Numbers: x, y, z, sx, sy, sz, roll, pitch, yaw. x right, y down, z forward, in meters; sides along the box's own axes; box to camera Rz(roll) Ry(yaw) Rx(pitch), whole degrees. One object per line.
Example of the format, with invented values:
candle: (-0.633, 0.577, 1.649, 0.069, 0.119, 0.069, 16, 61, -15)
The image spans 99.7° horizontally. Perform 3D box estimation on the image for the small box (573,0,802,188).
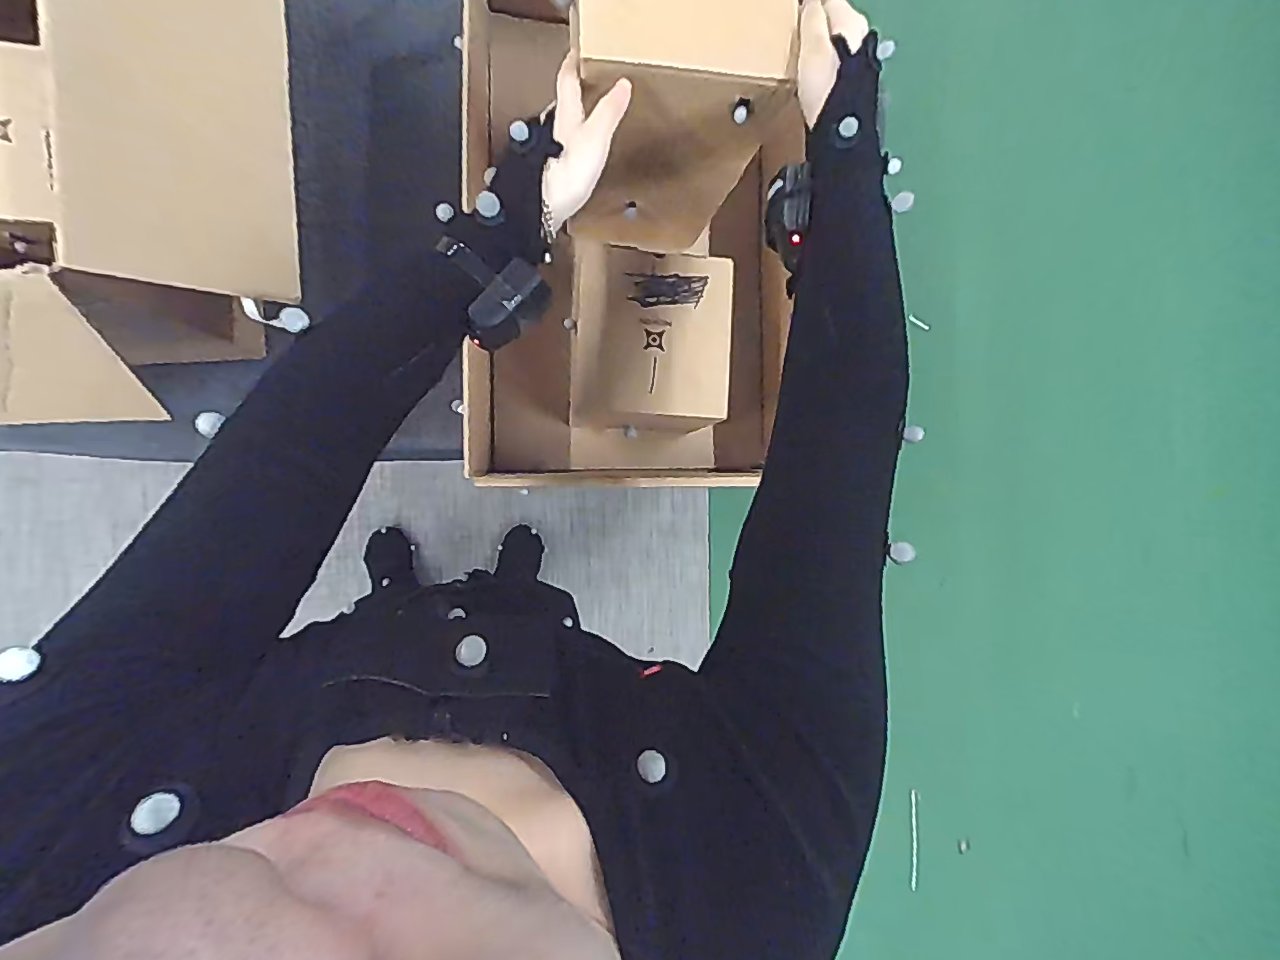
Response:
small box: (0.029, -0.389, 0.490, 0.179, 0.176, 0.168, -1, 93, -10)
